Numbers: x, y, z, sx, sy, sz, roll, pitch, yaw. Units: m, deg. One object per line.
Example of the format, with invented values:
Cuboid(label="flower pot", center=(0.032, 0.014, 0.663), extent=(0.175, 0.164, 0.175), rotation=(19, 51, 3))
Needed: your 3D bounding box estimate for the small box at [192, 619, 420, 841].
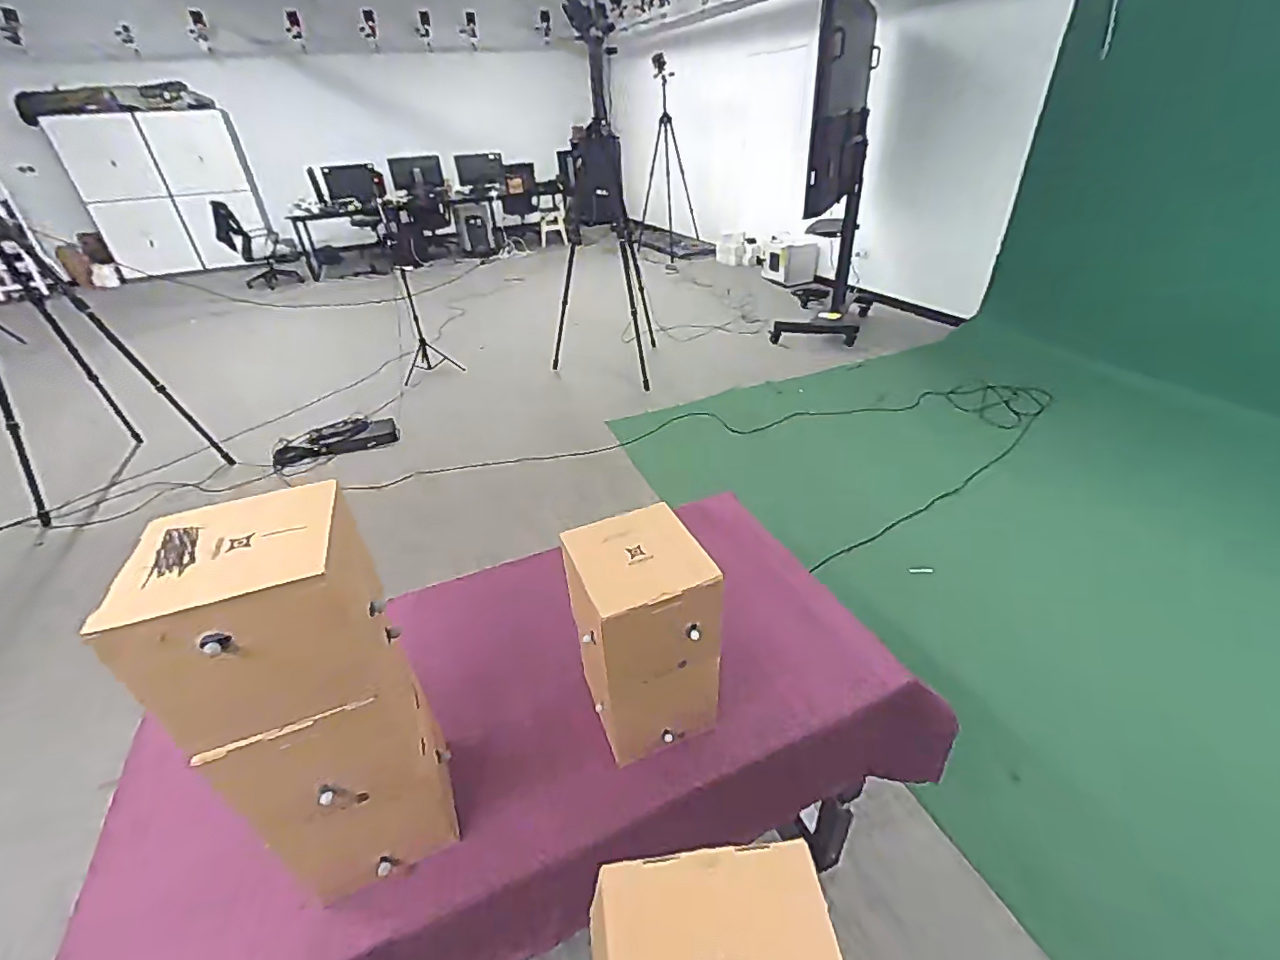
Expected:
Cuboid(label="small box", center=(-0.370, 0.271, 0.634), extent=(0.168, 0.176, 0.179), rotation=(-17, 36, -17))

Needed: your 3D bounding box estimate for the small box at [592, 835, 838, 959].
Cuboid(label="small box", center=(0.053, 0.404, 0.414), extent=(0.168, 0.176, 0.179), rotation=(-2, 43, -11))

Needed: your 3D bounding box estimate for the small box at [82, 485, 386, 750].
Cuboid(label="small box", center=(-0.374, 0.133, 0.545), extent=(0.179, 0.176, 0.168), rotation=(-14, 35, -17))

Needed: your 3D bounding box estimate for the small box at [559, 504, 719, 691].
Cuboid(label="small box", center=(-0.002, 0.166, 0.756), extent=(0.168, 0.176, 0.179), rotation=(-16, 36, -18))

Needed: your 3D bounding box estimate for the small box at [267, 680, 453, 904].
Cuboid(label="small box", center=(-0.360, 0.410, 0.722), extent=(0.179, 0.176, 0.168), rotation=(-16, 36, -19))
